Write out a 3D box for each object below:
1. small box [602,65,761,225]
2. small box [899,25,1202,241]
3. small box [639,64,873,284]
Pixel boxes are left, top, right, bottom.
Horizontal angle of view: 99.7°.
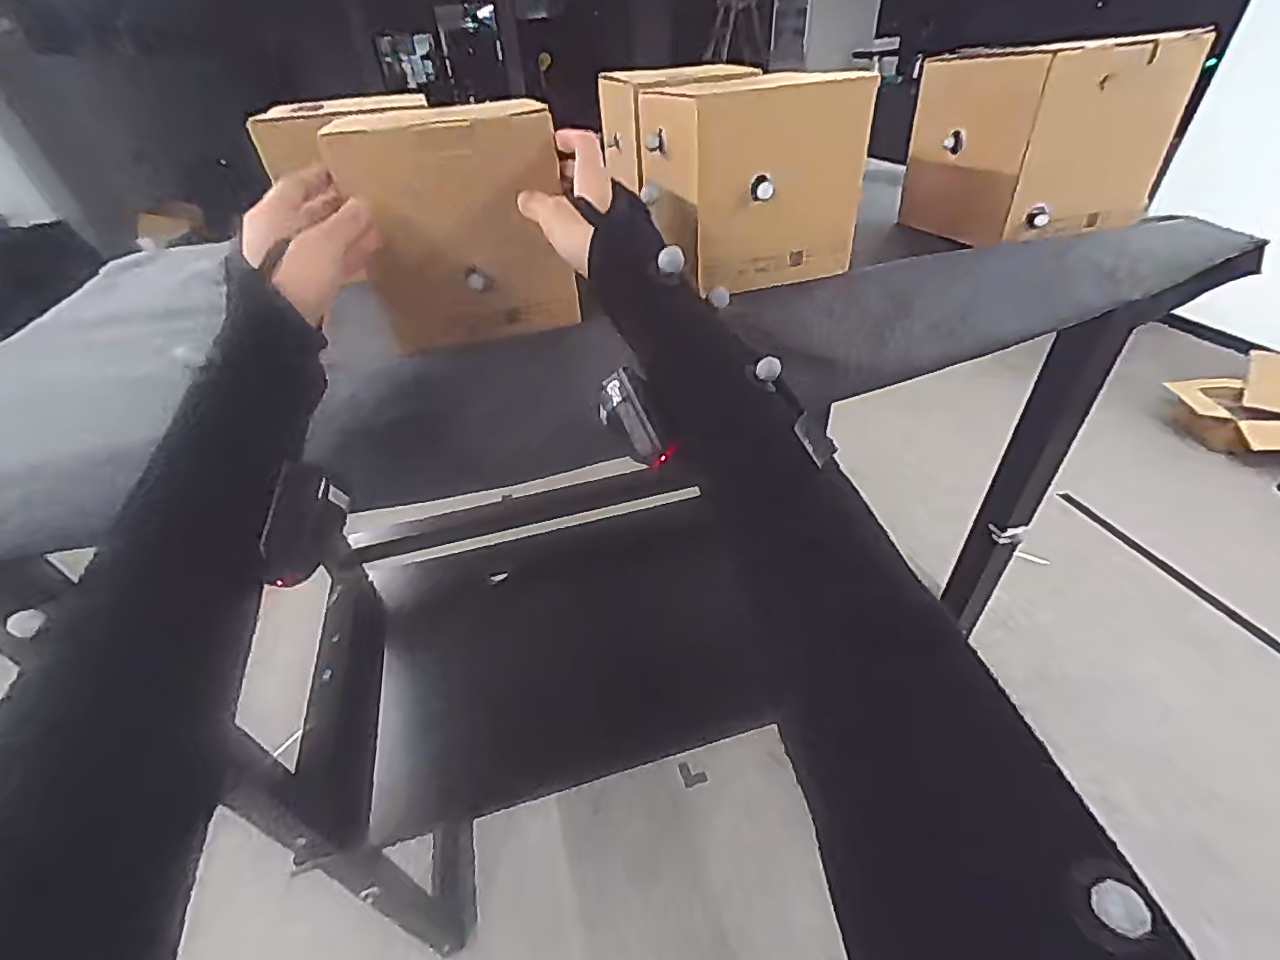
[{"bbox_3d":[0.050,-0.464,0.750,0.168,0.176,0.179,-13,39,-10],"label":"small box"},{"bbox_3d":[0.415,-0.368,0.586,0.168,0.176,0.179,-12,36,-8],"label":"small box"},{"bbox_3d":[0.105,-0.311,0.555,0.168,0.176,0.179,-13,37,-10],"label":"small box"}]
